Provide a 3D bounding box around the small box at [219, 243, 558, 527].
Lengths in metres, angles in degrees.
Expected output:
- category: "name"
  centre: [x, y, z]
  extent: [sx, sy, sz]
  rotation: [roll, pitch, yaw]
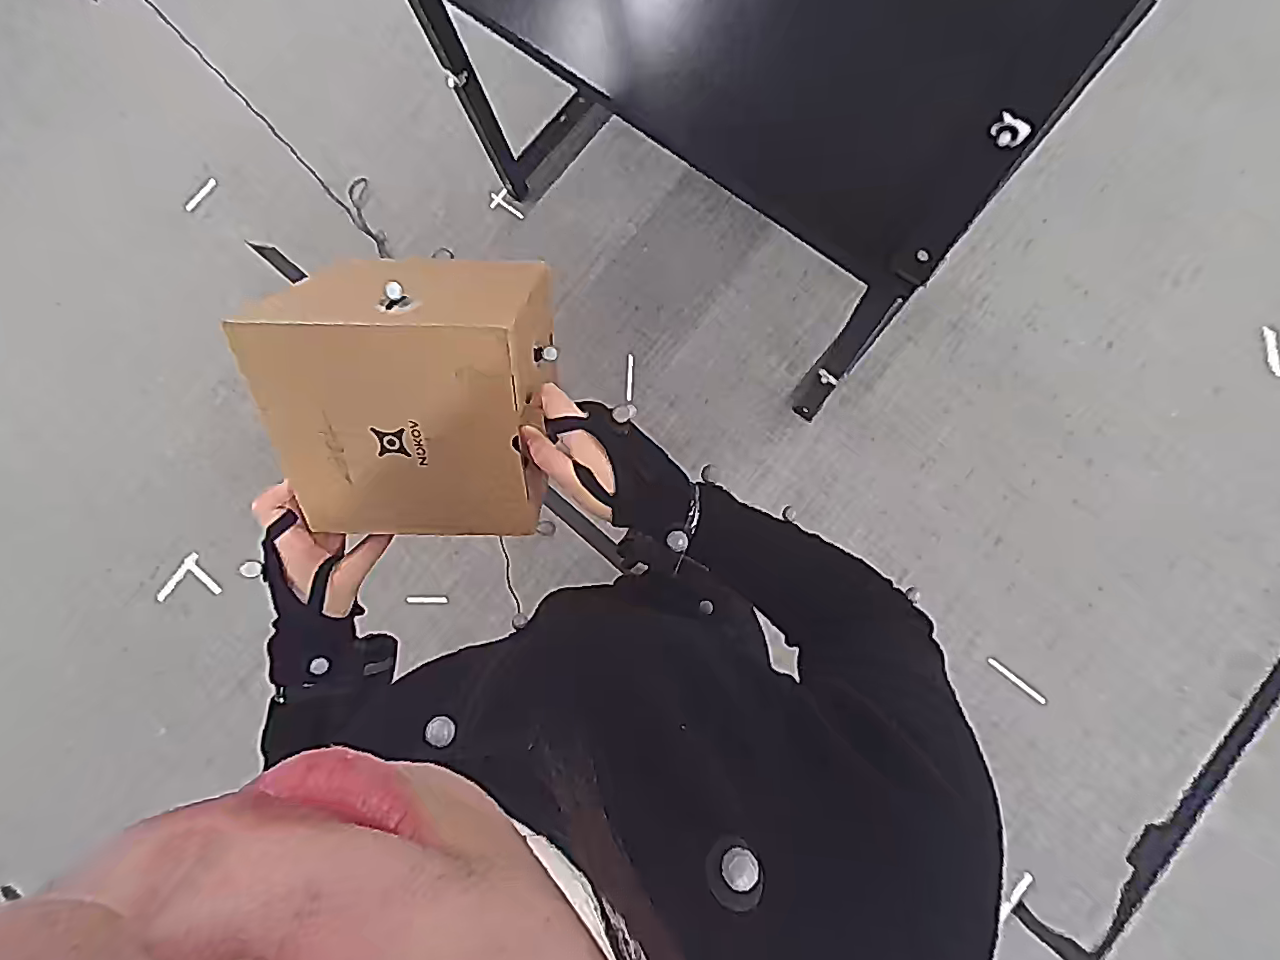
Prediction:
- category: "small box"
  centre: [-0.160, -0.080, 0.423]
  extent: [0.179, 0.176, 0.168]
  rotation: [1, 125, 0]
